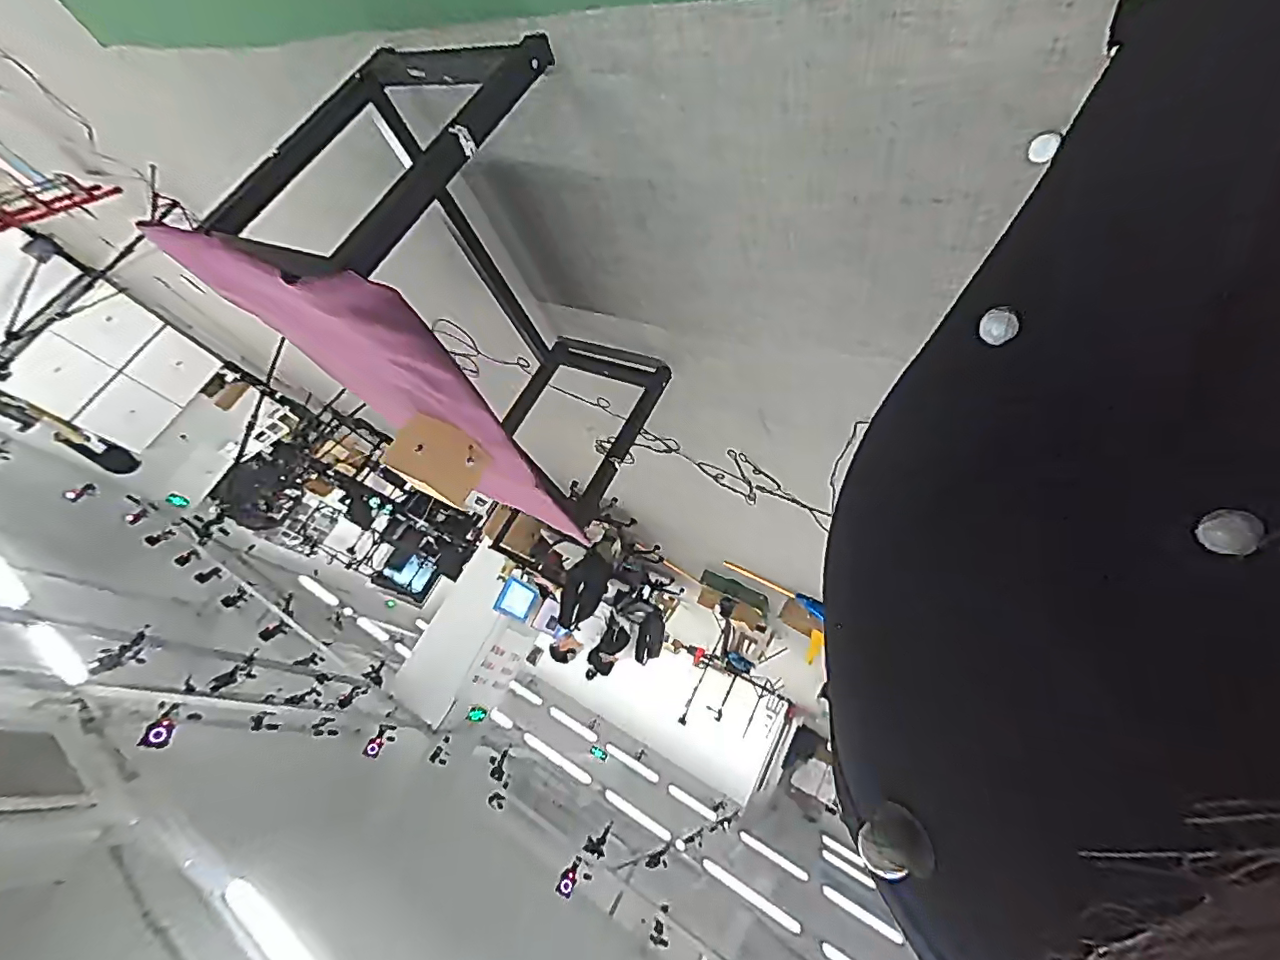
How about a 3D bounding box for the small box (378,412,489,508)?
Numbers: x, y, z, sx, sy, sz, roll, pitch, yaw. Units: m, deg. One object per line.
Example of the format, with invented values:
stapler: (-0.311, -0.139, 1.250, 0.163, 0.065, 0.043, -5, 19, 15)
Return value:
small box: (-0.538, -0.057, 1.429, 0.179, 0.176, 0.168, 21, 161, 25)
